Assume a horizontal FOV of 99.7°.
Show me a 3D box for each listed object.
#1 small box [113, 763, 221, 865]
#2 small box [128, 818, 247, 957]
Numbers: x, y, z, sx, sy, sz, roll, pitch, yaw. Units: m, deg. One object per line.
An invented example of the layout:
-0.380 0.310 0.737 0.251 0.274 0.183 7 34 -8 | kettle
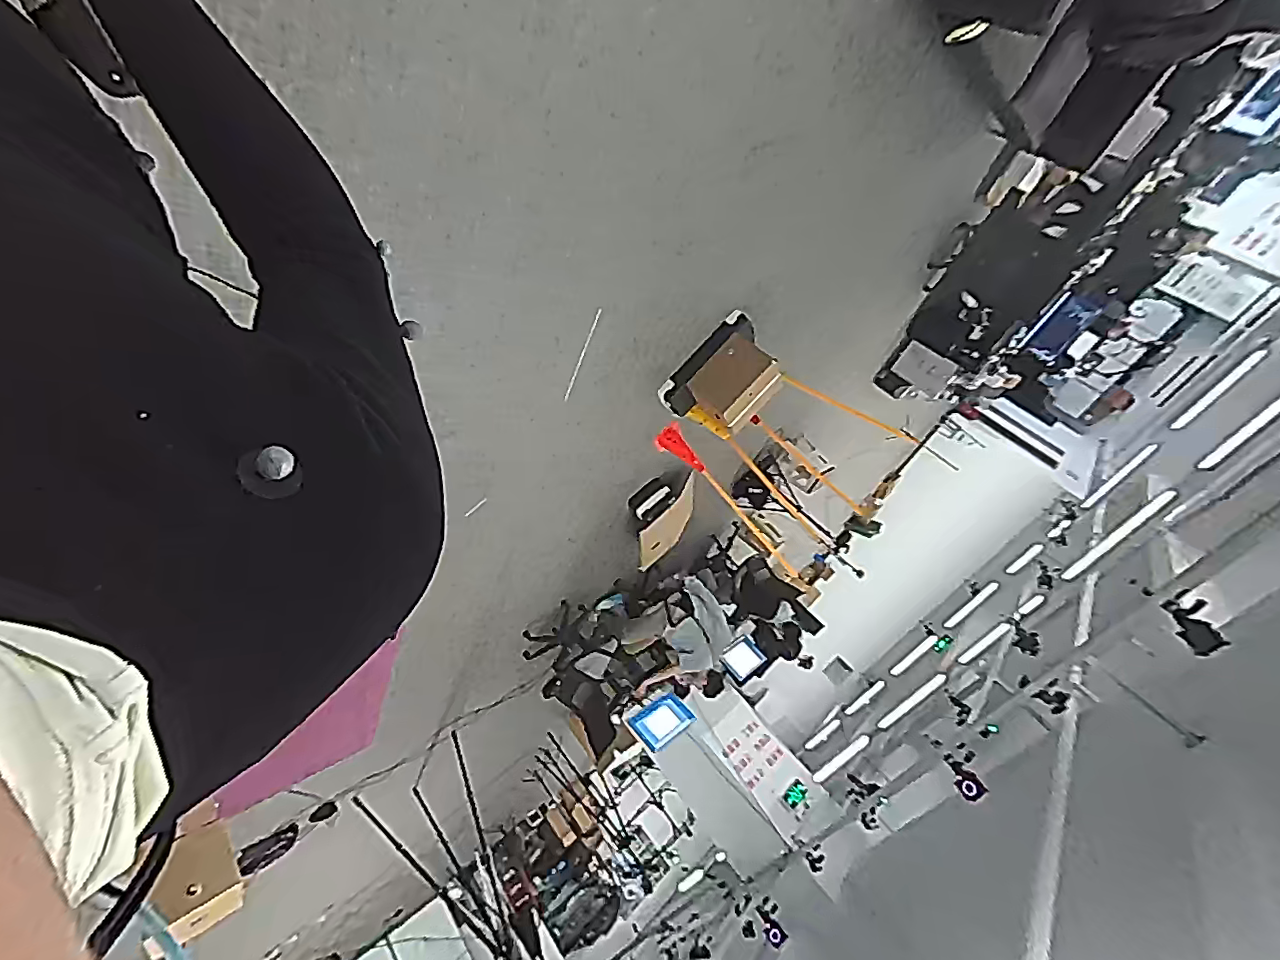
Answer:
-1.155 0.835 1.326 0.168 0.176 0.179 -17 144 -47 | small box
-1.048 0.937 1.258 0.179 0.176 0.168 -16 141 -47 | small box
